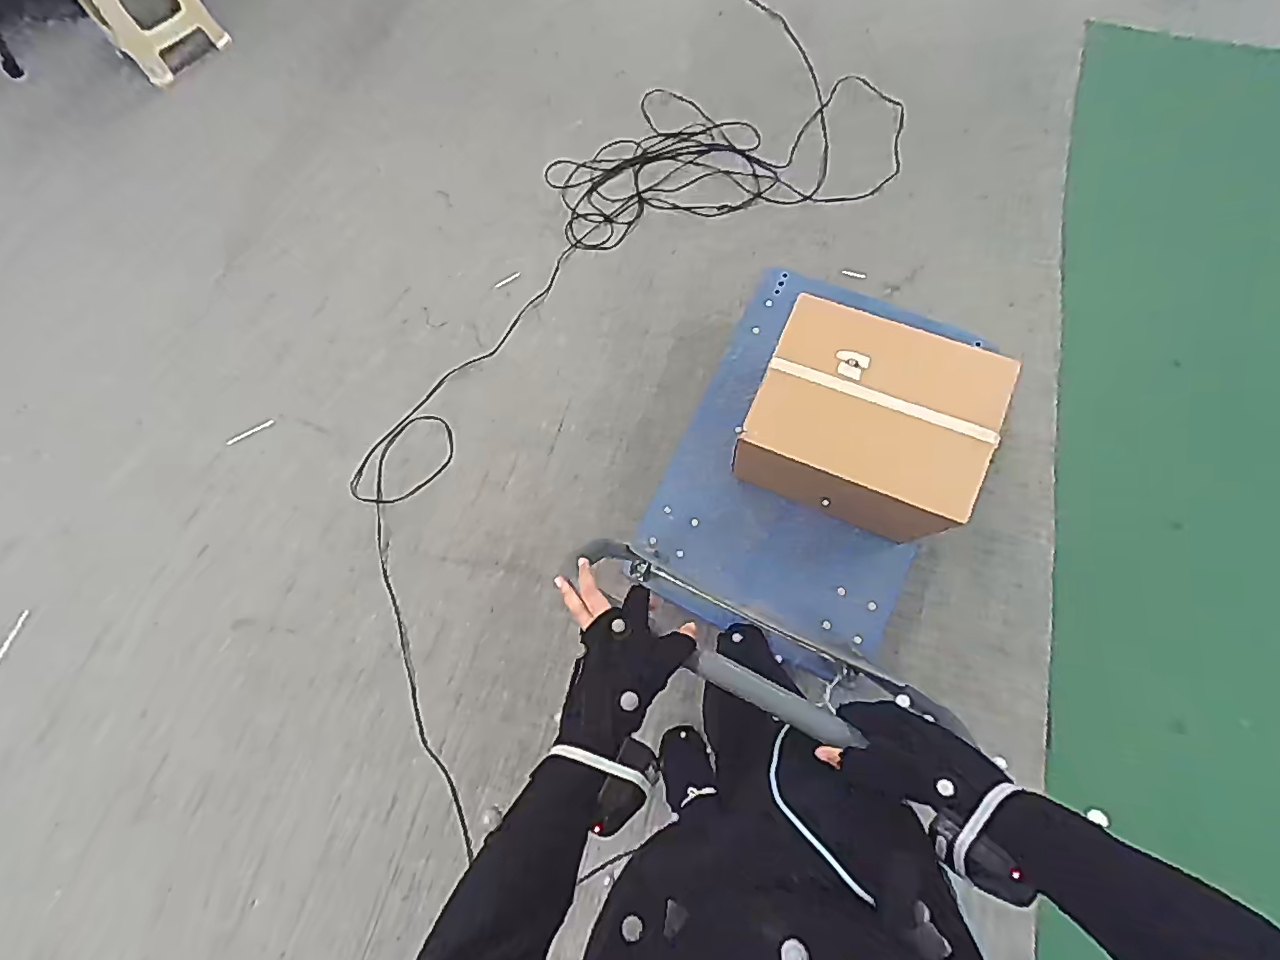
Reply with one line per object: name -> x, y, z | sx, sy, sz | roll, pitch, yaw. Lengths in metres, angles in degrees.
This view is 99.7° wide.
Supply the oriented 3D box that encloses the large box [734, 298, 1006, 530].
large box -> 0.437, -0.116, 1.122 | 0.408, 0.320, 0.320 | 21, 82, 12
